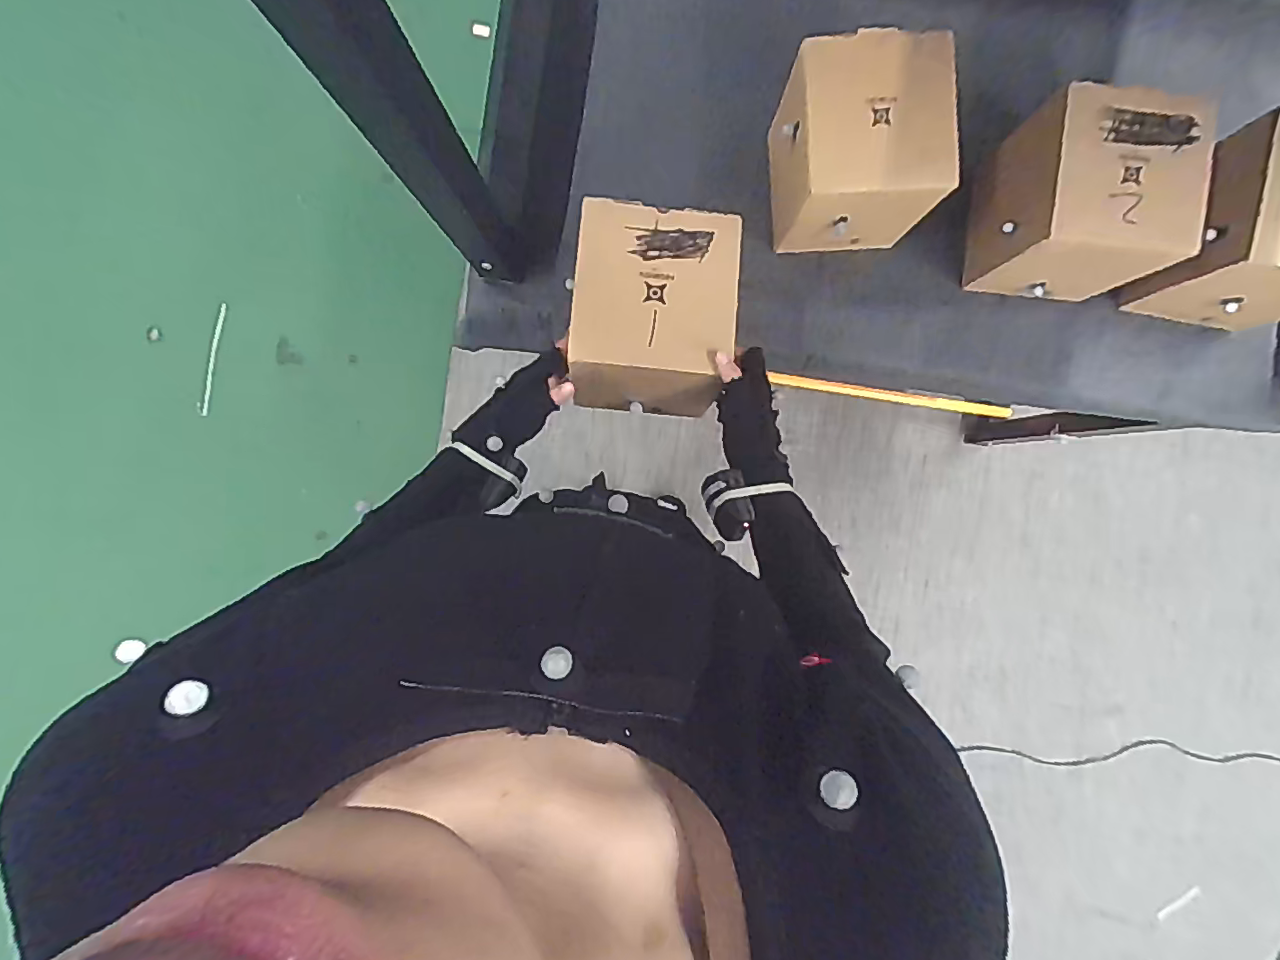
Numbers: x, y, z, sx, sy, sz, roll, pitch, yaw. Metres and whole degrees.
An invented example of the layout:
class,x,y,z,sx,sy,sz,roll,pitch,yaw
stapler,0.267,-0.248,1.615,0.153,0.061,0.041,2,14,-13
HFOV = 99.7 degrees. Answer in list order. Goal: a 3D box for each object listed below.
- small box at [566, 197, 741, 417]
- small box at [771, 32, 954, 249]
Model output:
class,x,y,z,sx,sy,sz,roll,pitch,yaw
small box,0.010,-0.183,0.618,0.168,0.176,0.179,6,82,-3
small box,0.265,-0.404,0.677,0.168,0.176,0.179,-2,90,1
